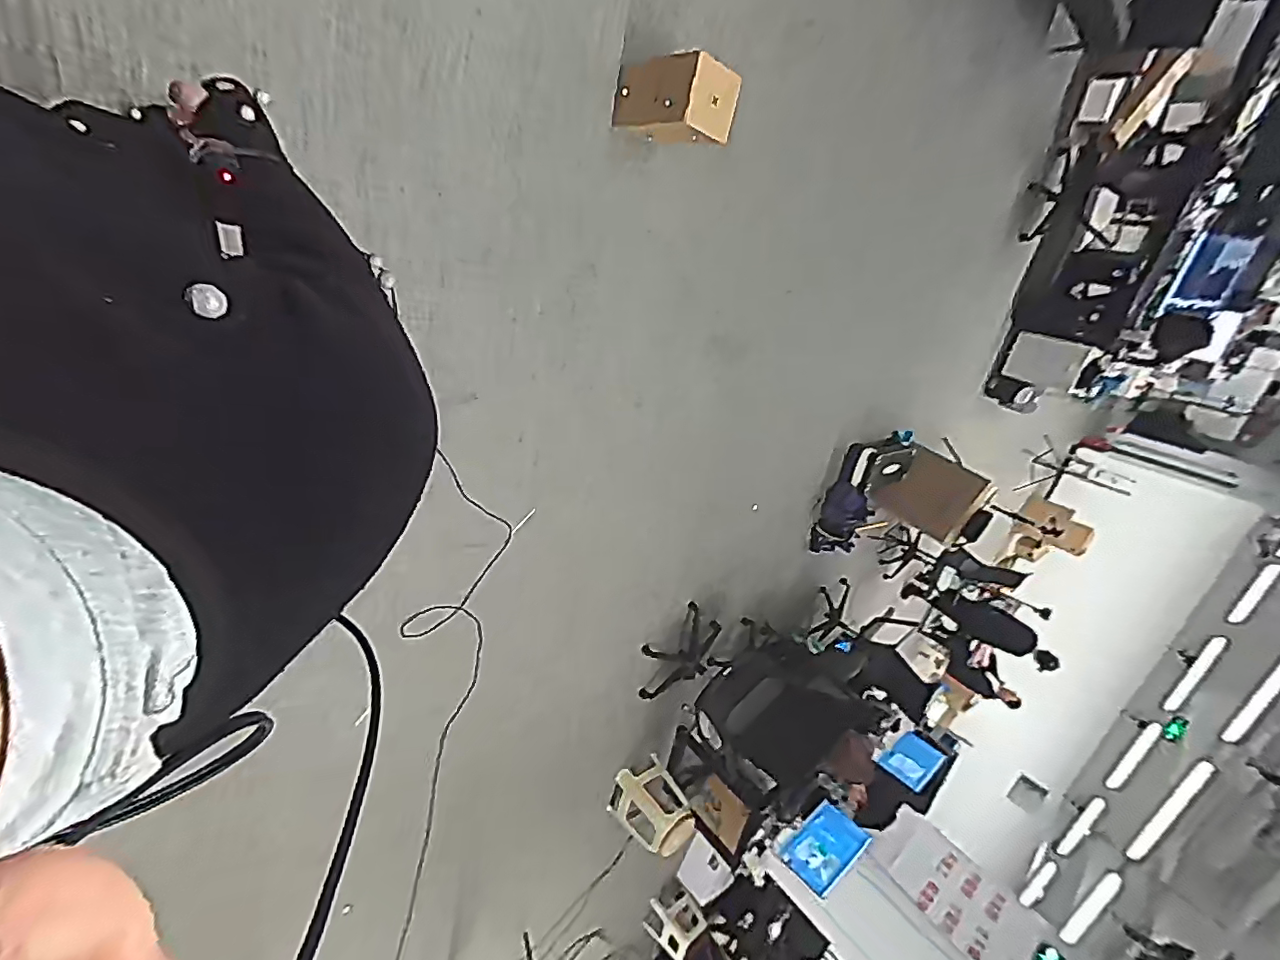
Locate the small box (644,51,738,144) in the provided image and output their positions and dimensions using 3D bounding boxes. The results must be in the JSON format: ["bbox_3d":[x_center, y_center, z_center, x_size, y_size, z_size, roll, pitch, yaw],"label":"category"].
[{"bbox_3d":[0.136,-1.055,1.503,0.179,0.176,0.168,-8,122,-44],"label":"small box"}]

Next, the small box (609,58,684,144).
[{"bbox_3d":[0.035,-1.123,1.610,0.179,0.176,0.168,-8,120,-41],"label":"small box"}]
